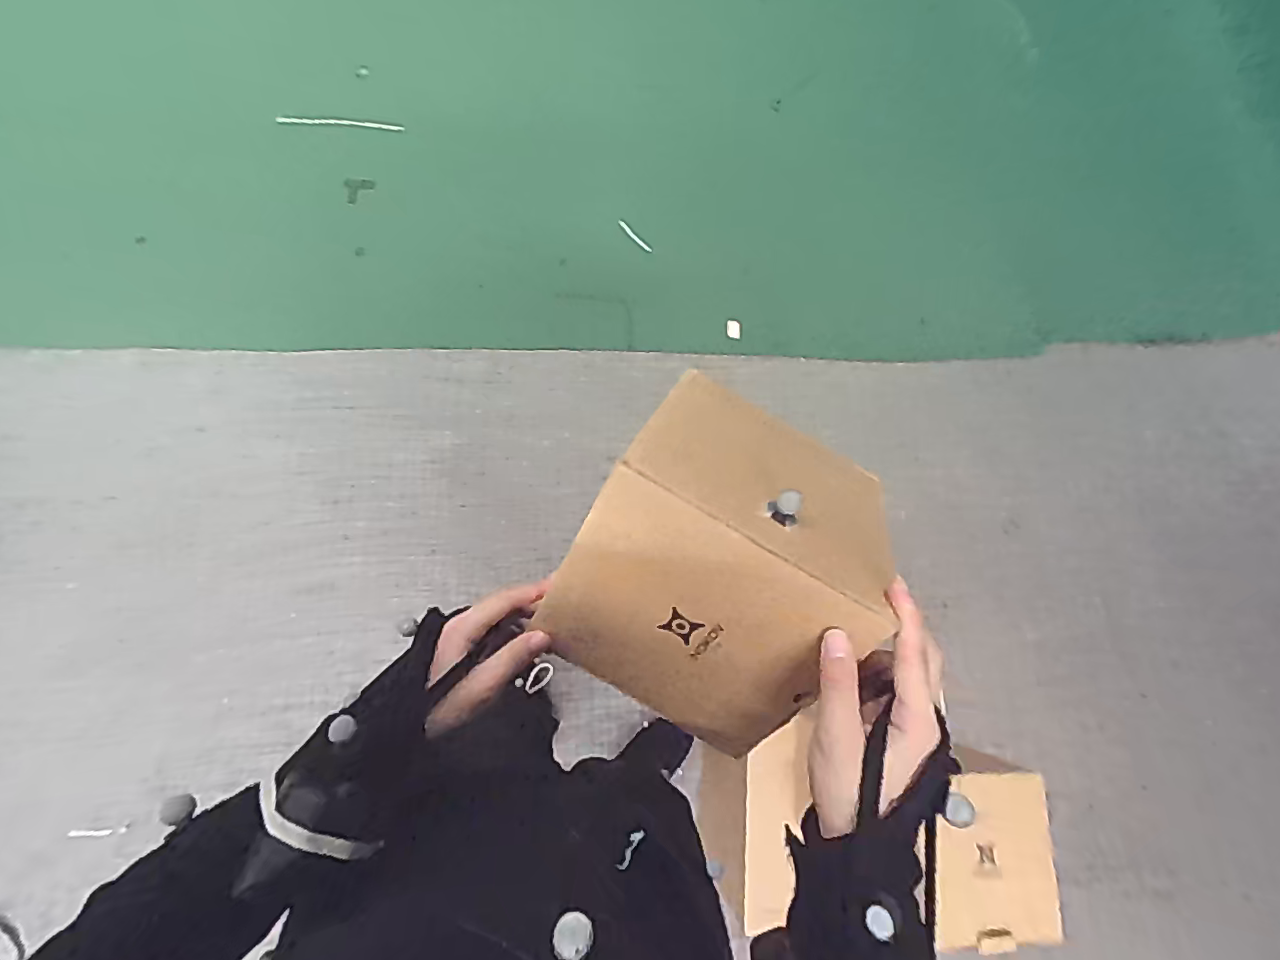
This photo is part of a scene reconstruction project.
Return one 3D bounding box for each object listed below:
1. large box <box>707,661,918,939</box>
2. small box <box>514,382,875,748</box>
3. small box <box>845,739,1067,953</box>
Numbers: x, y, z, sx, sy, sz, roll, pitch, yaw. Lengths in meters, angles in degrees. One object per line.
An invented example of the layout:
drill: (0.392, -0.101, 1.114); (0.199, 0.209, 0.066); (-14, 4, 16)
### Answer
large box: (0.317, 0.574, 1.058); (0.320, 0.320, 0.408); (5, 77, -4)
small box: (0.040, 0.047, 0.398); (0.179, 0.168, 0.176); (29, 34, 0)
small box: (0.376, 0.438, 0.676); (0.168, 0.176, 0.179); (2, 76, -7)
